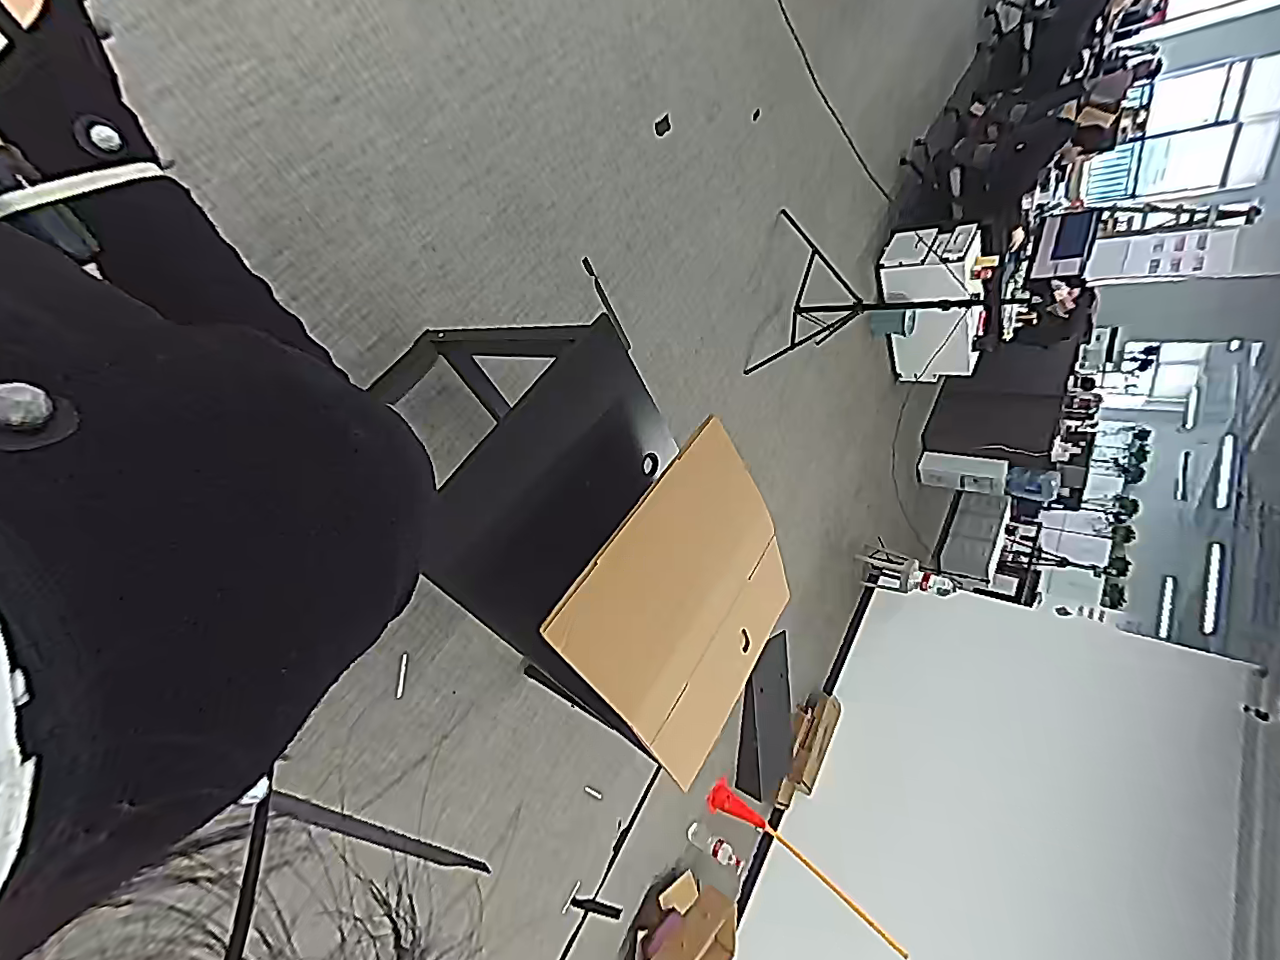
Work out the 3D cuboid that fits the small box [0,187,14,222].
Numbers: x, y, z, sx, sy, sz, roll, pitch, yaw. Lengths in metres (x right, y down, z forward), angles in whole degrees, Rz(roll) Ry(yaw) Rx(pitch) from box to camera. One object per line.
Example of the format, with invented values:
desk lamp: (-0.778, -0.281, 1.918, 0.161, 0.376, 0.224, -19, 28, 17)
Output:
small box: (-1.140, -0.444, 0.830, 0.179, 0.176, 0.168, -58, 136, -22)
